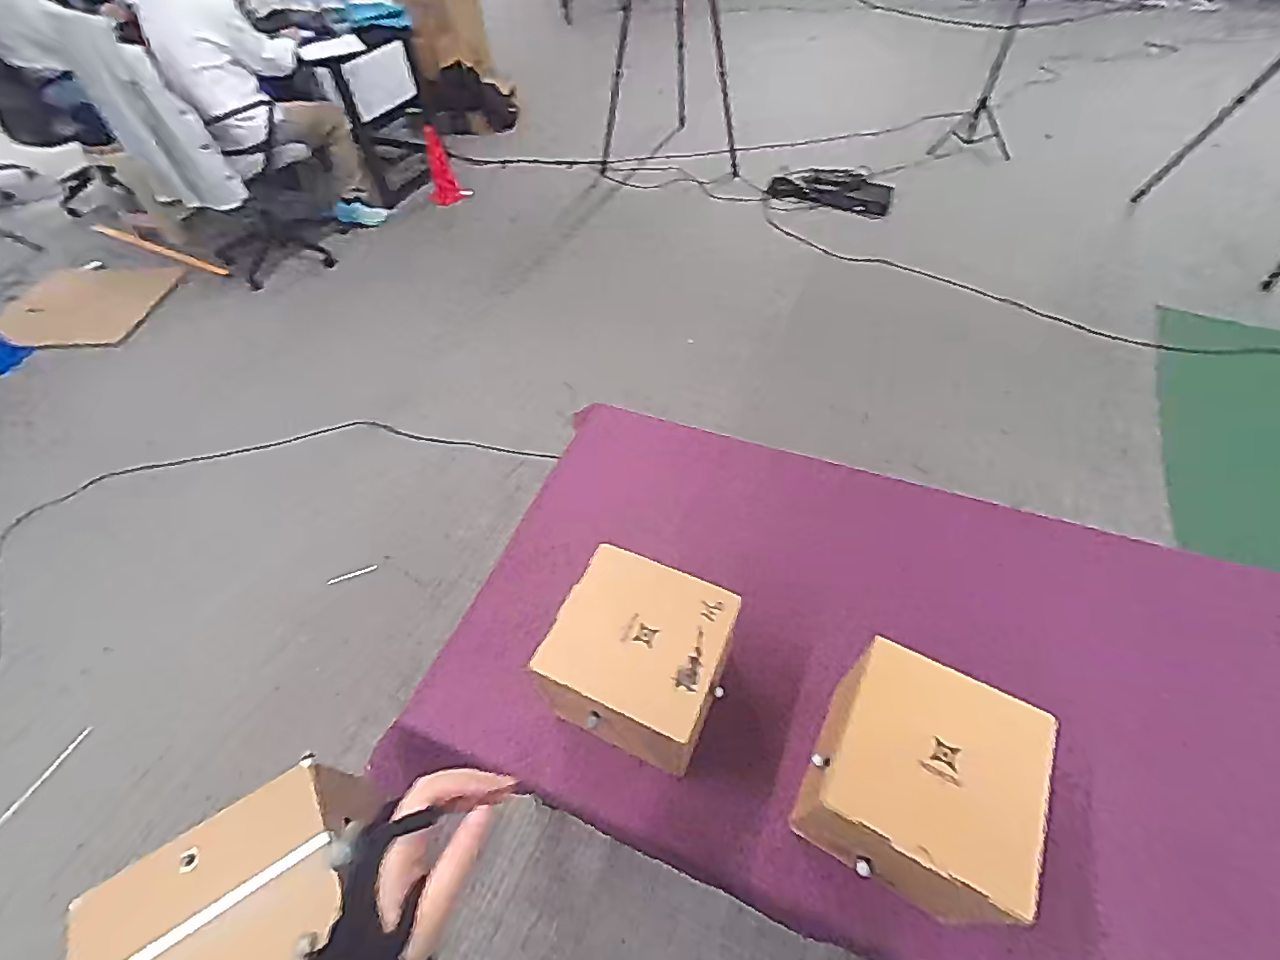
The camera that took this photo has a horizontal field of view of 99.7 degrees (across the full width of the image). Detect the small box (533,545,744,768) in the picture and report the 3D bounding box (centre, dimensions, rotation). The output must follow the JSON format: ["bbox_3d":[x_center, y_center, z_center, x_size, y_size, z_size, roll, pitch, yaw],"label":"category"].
[{"bbox_3d":[0.006,0.209,0.631,0.179,0.176,0.168,19,56,18],"label":"small box"}]

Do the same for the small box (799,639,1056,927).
[{"bbox_3d":[0.276,0.301,0.547,0.168,0.176,0.179,24,58,20],"label":"small box"}]
